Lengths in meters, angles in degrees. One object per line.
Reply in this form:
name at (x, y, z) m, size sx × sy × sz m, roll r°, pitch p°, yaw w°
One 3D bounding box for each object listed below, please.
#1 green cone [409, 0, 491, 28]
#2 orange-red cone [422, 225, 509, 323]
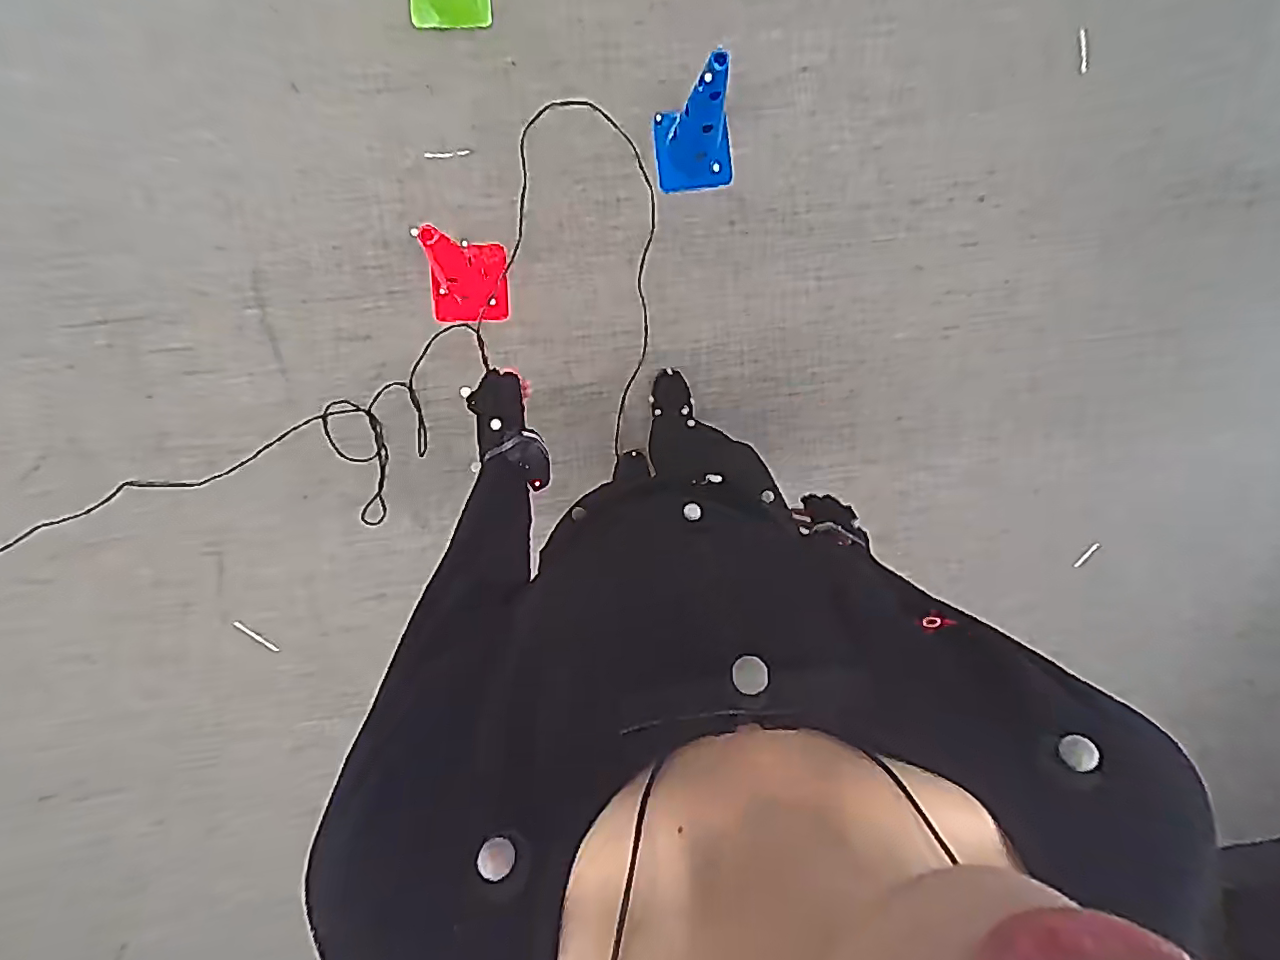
green cone at (-0.476, -1.235, 1.191) m, size 0.200 × 0.368 × 0.202 m, roll -5°, pitch 96°, yaw -3°
orange-red cone at (-0.435, -0.507, 1.257) m, size 0.198 × 0.360 × 0.199 m, roll -2°, pitch 93°, yaw -4°
